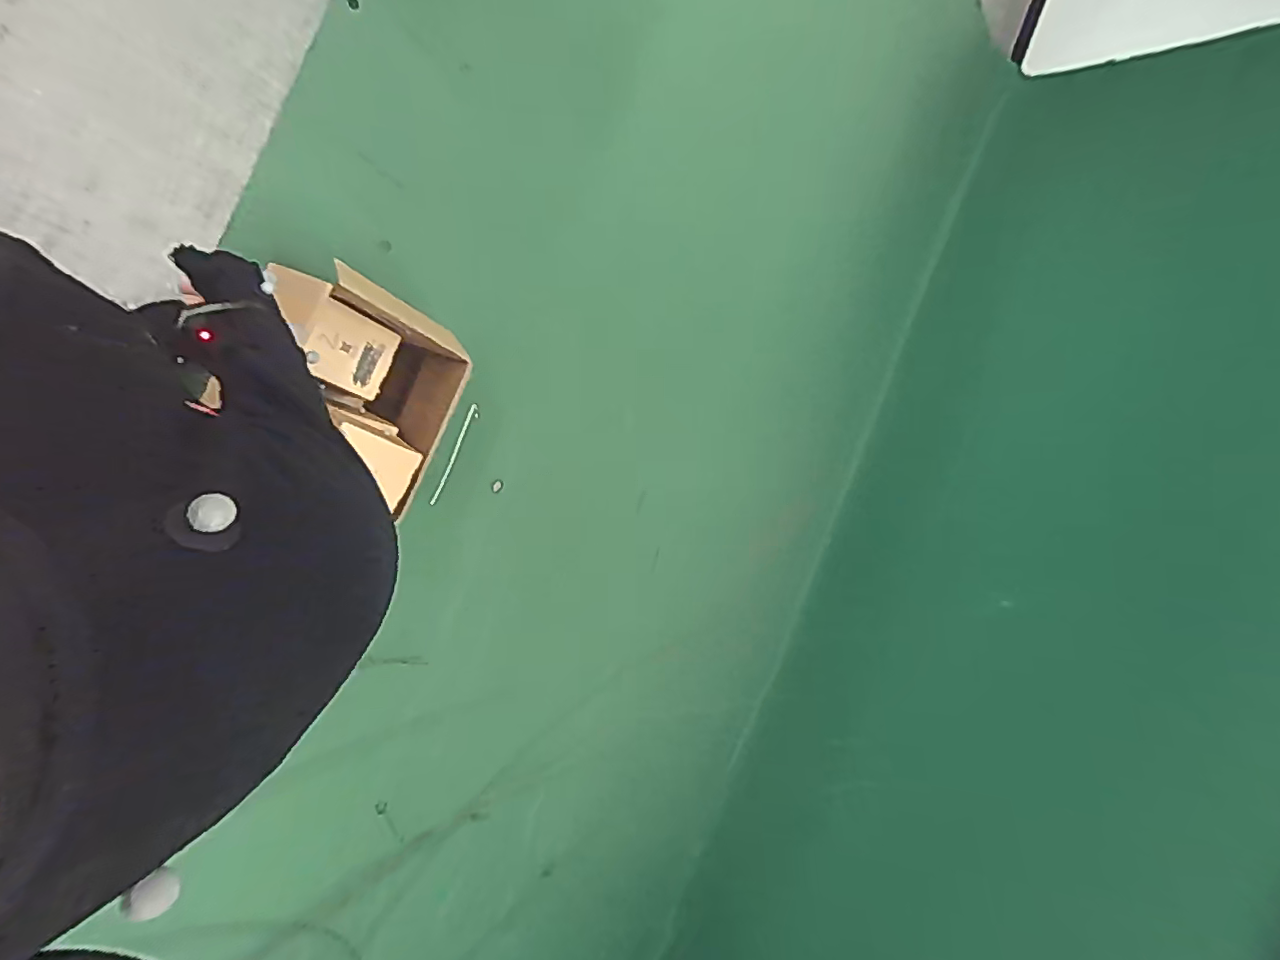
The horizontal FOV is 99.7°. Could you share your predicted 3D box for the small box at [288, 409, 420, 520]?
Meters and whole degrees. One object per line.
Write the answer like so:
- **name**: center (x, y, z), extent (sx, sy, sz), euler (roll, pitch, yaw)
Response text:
- **small box**: center (-0.611, -0.038, 1.149), extent (0.179, 0.176, 0.168), euler (31, 85, -46)
